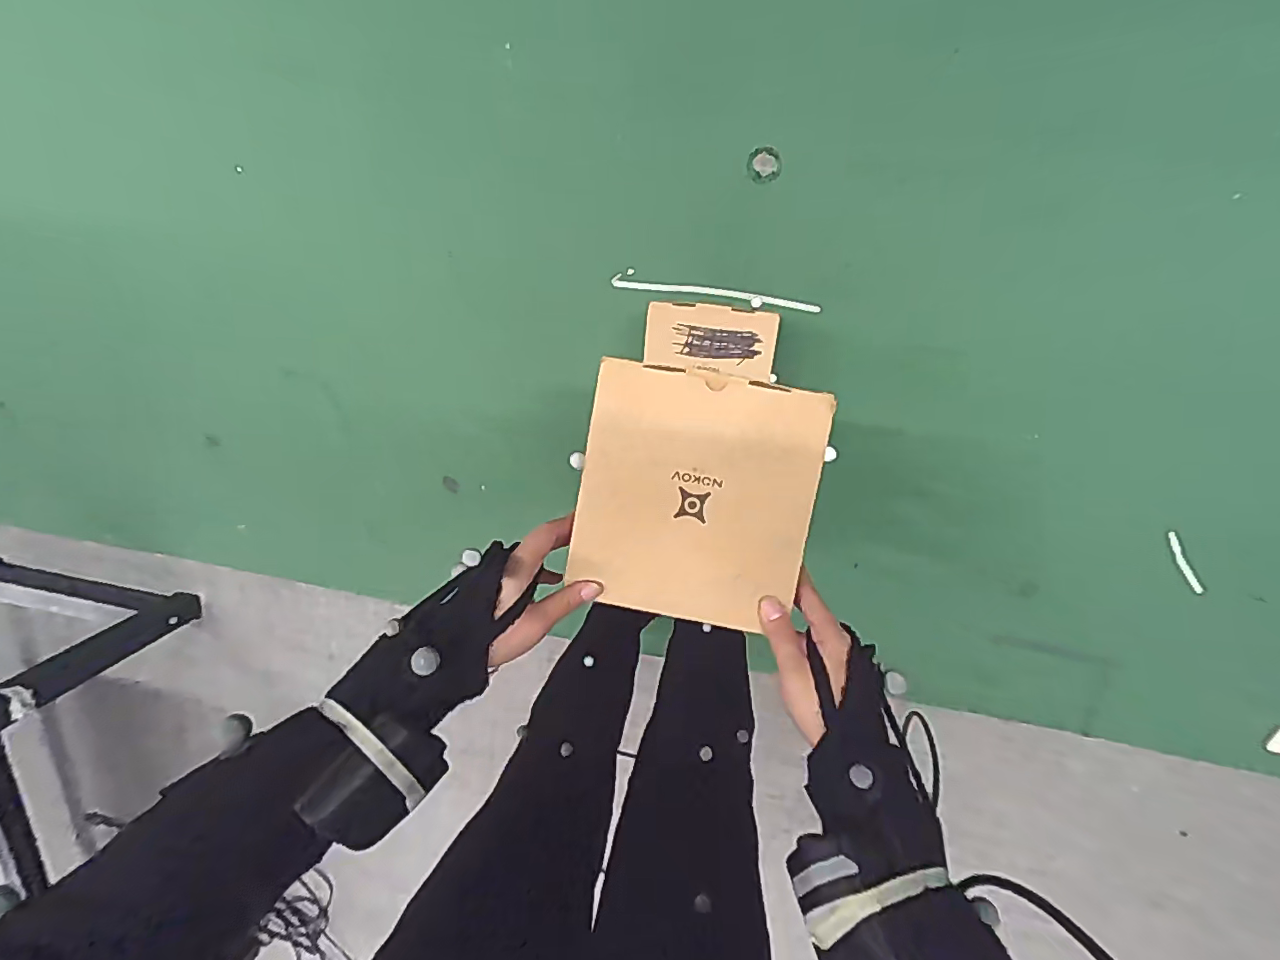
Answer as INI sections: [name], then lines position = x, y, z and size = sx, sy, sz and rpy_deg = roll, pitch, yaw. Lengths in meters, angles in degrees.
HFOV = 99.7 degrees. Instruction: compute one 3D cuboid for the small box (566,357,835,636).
[small box]
position = 0.047, 0.006, 0.461
size = 0.168, 0.176, 0.179
rpy_deg = 10, 95, 4
